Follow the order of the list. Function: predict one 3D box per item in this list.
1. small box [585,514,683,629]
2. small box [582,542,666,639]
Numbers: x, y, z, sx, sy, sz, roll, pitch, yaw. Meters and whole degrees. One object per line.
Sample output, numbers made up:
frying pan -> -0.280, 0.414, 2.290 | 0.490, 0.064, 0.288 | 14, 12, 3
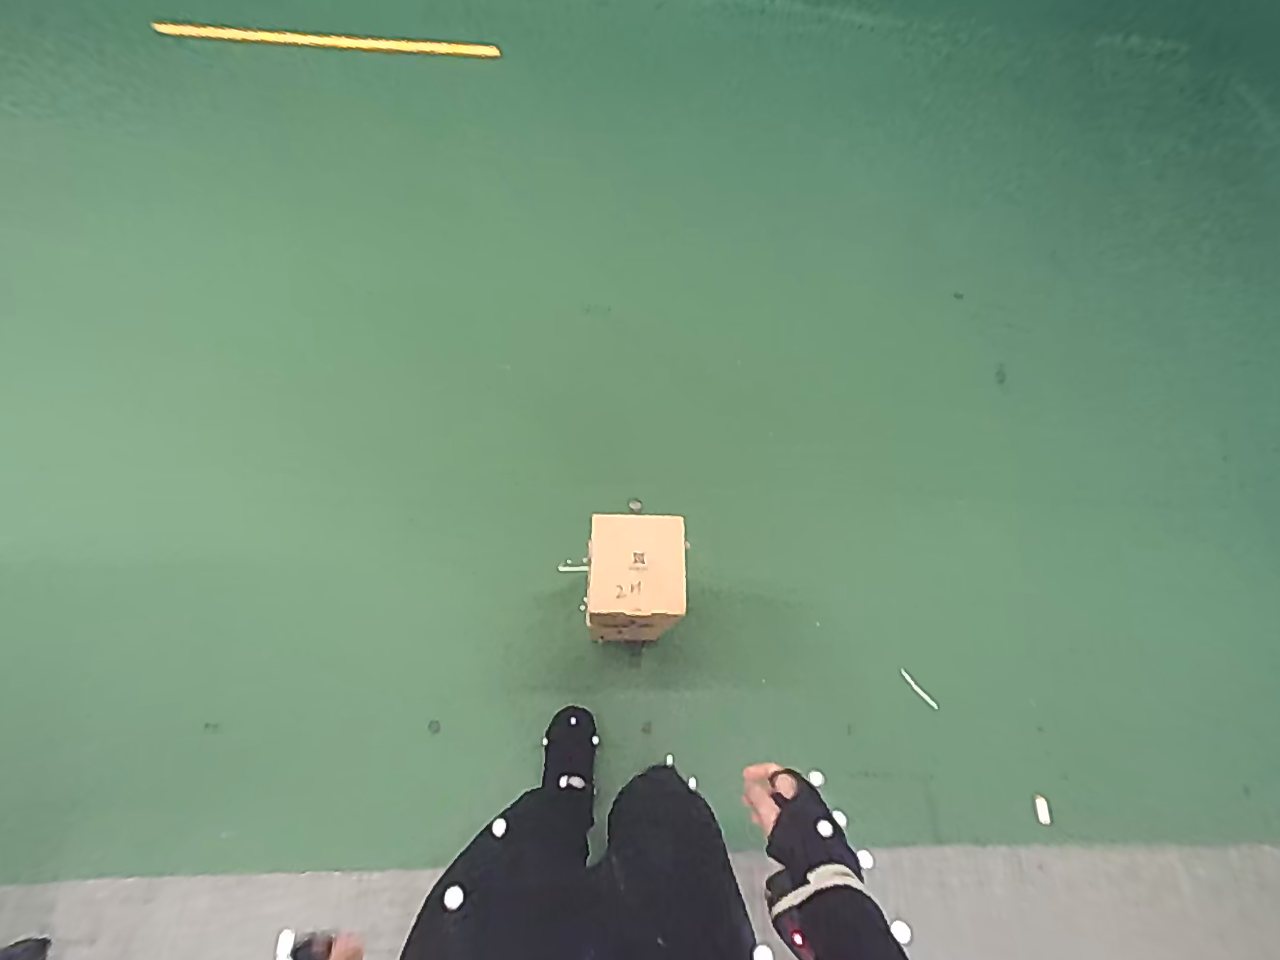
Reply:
small box -> -0.015, 0.175, 1.002 | 0.168, 0.176, 0.179 | 3, 68, -5
small box -> -0.038, 0.240, 1.153 | 0.168, 0.176, 0.179 | 2, 69, -6
